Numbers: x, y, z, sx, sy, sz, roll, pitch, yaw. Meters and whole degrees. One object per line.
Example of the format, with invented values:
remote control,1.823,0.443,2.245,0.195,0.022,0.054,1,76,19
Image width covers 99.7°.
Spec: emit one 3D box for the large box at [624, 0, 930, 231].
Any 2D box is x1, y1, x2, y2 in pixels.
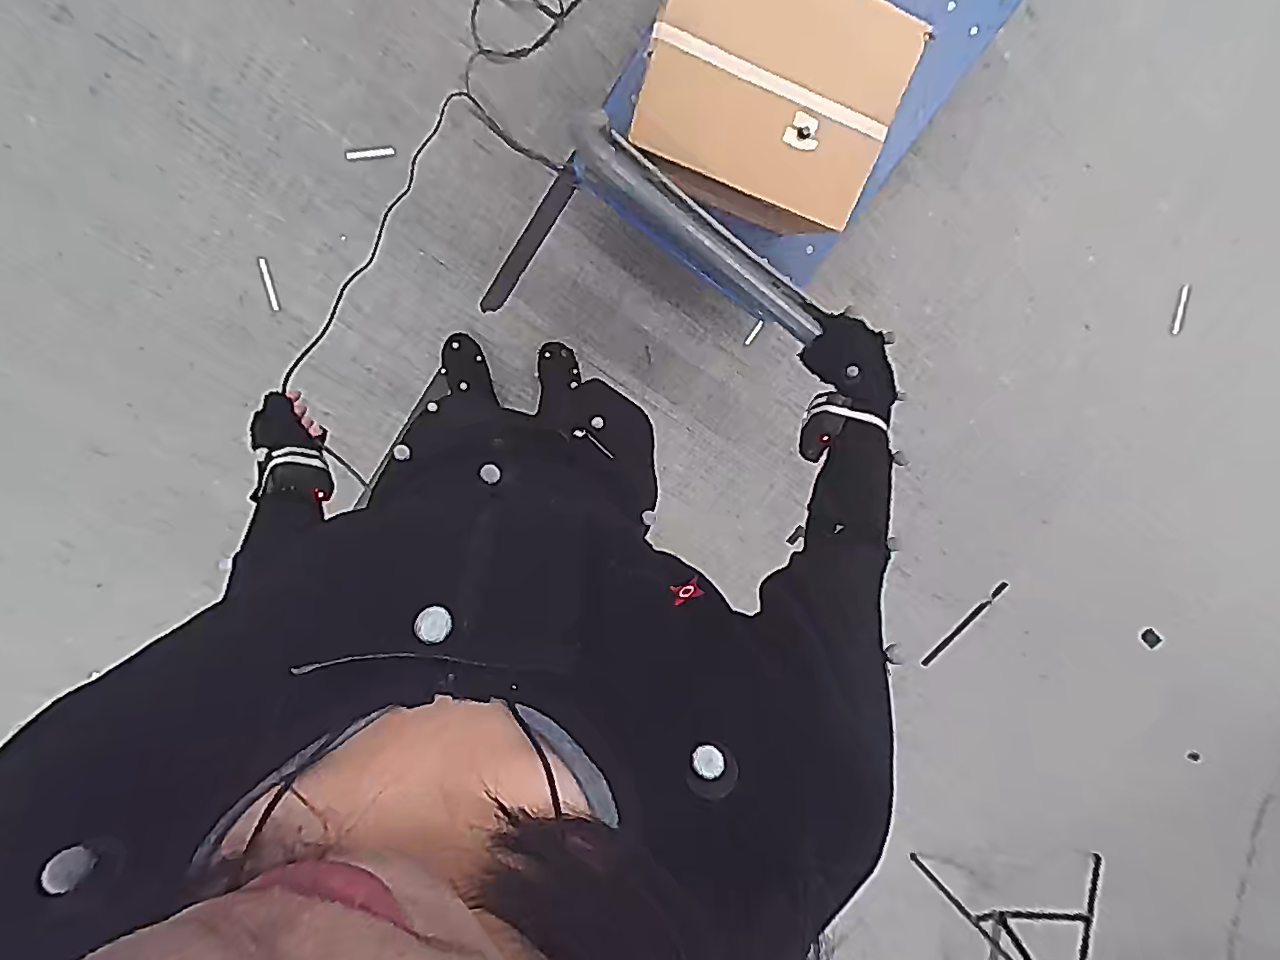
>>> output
large box,0.209,-0.691,0.998,0.408,0.320,0.320,16,111,-12
